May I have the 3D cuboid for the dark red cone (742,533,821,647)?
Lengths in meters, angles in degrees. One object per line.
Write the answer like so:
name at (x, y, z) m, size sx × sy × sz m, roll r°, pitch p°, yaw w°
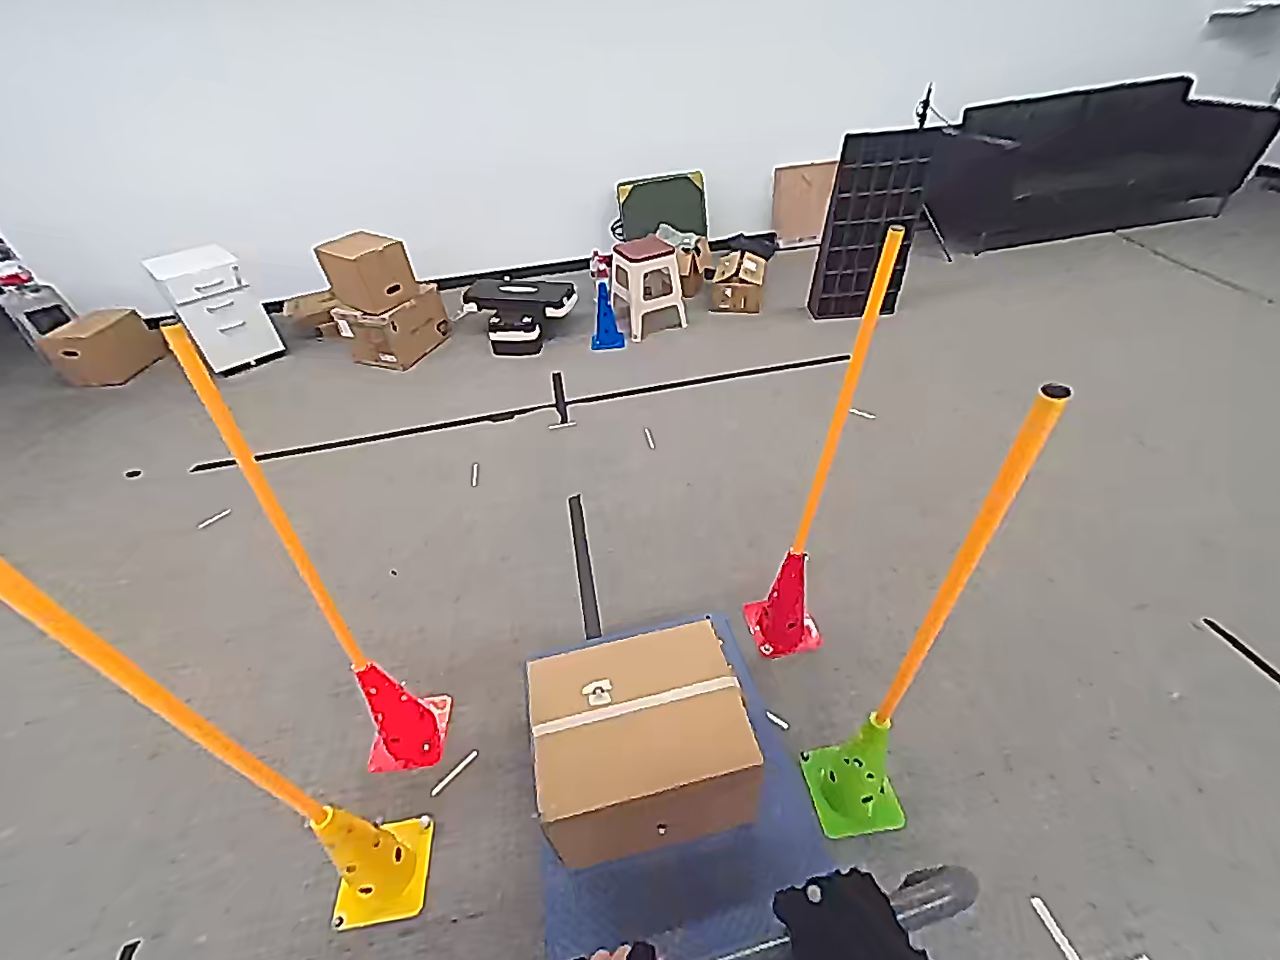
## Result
dark red cone at (0.435, 0.307, 1.592) m, size 0.201 × 0.394 × 0.202 m, roll -9°, pitch 41°, yaw -8°

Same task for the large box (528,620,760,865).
large box at (0.004, 0.554, 1.152) m, size 0.408 × 0.320 × 0.320 m, roll -12°, pitch 42°, yaw -6°

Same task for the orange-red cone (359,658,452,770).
orange-red cone at (-0.651, 0.578, 1.415) m, size 0.198 × 0.360 × 0.199 m, roll -5°, pitch 39°, yaw -1°

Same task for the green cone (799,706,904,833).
green cone at (0.513, 0.628, 1.236) m, size 0.202 × 0.368 × 0.200 m, roll -7°, pitch 40°, yaw -4°
